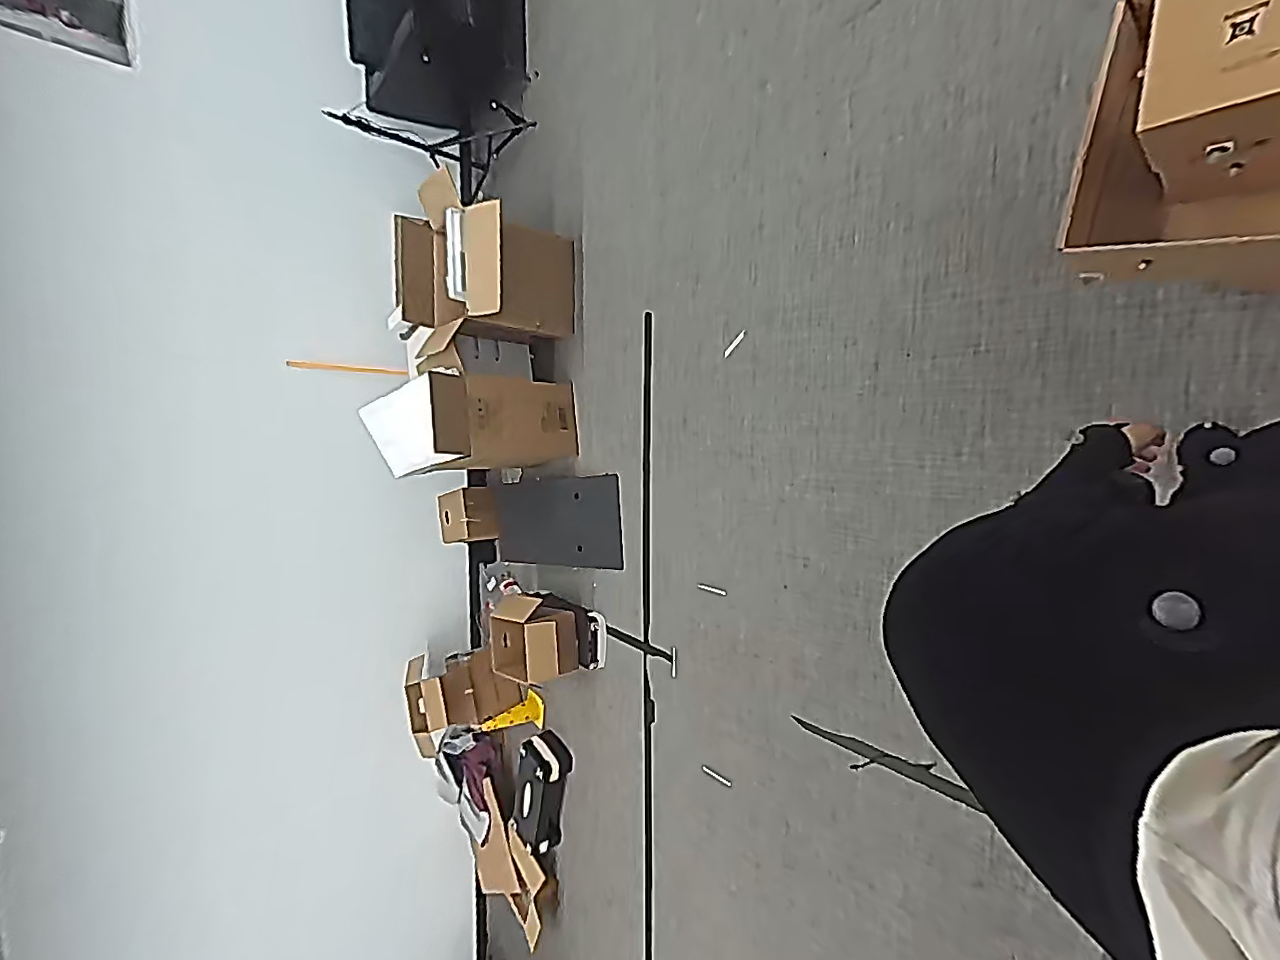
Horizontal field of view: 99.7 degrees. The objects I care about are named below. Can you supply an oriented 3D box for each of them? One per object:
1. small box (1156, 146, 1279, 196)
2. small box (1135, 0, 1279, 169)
[{"bbox_3d":[0.880,-0.527,0.769,0.179,0.176,0.168,14,103,47],"label":"small box"},{"bbox_3d":[0.749,-0.524,0.669,0.168,0.176,0.179,11,100,50],"label":"small box"}]
